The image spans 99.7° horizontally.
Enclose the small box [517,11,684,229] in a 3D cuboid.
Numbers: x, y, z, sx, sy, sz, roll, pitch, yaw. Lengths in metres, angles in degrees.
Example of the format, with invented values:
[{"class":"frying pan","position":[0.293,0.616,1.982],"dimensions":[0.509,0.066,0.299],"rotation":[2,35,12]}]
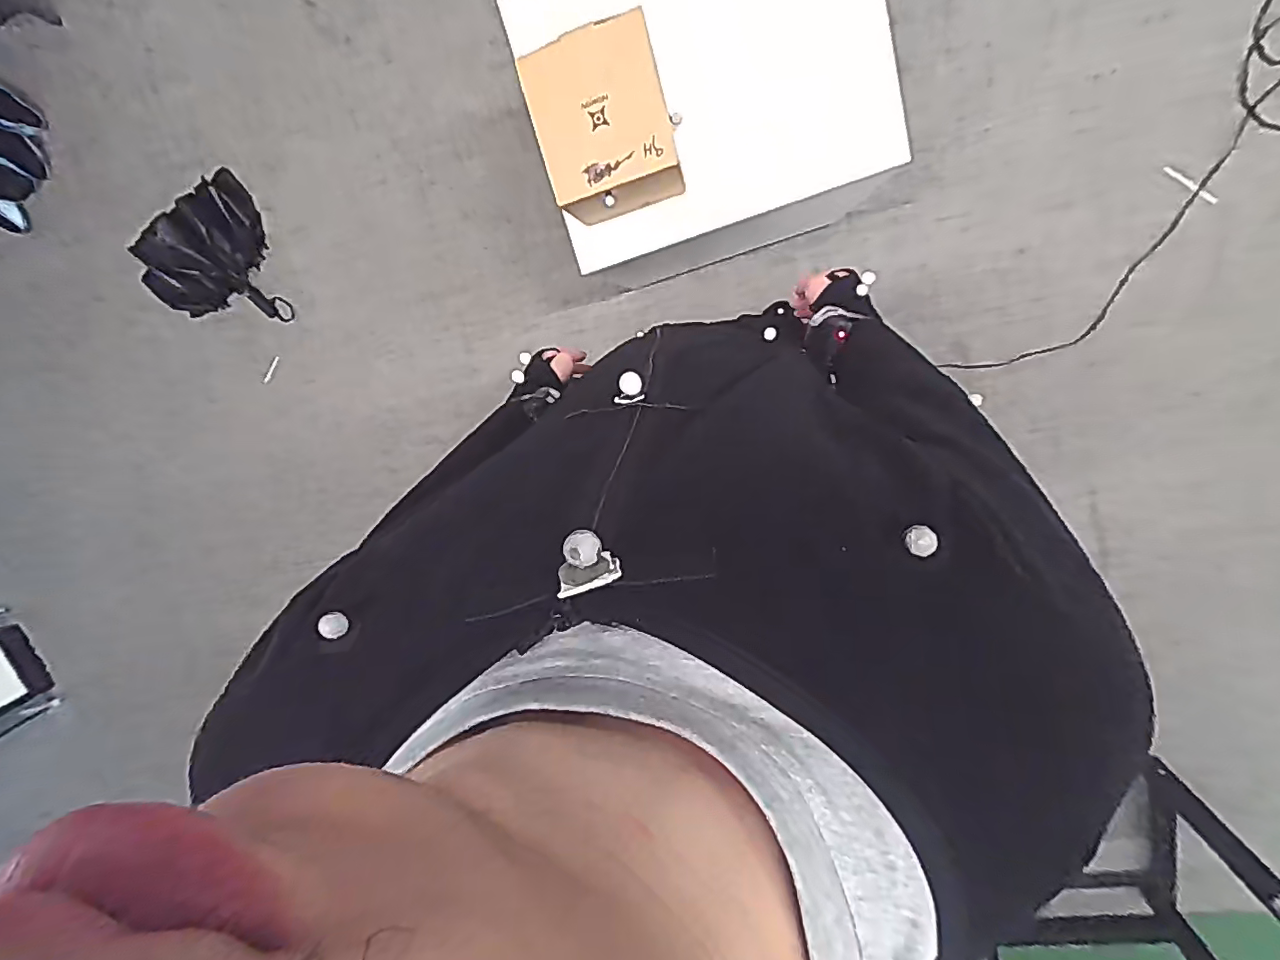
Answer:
[{"class":"small box","position":[-0.042,-0.471,0.741],"dimensions":[0.168,0.176,0.179],"rotation":[-14,103,12]}]
